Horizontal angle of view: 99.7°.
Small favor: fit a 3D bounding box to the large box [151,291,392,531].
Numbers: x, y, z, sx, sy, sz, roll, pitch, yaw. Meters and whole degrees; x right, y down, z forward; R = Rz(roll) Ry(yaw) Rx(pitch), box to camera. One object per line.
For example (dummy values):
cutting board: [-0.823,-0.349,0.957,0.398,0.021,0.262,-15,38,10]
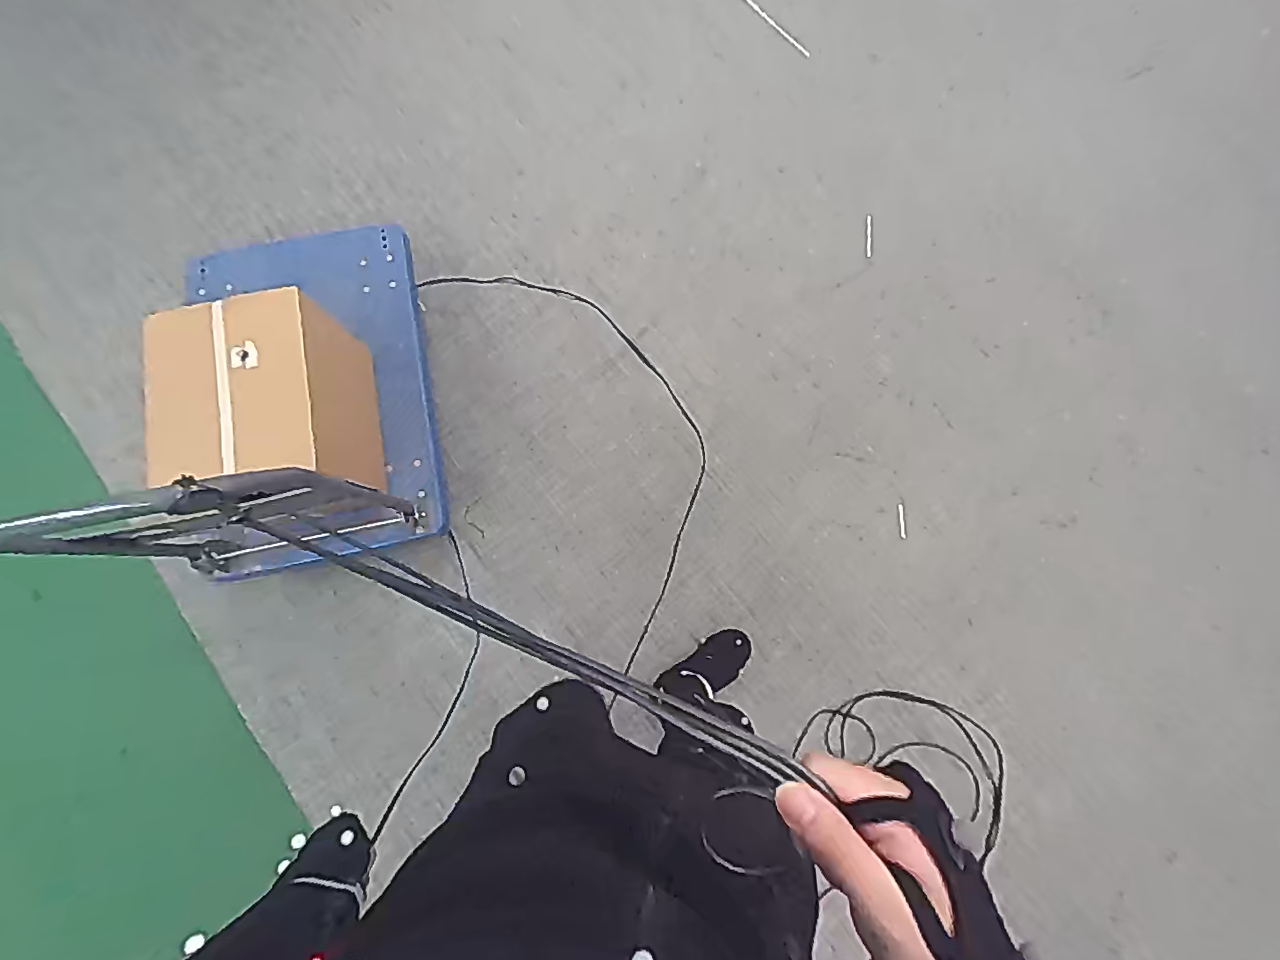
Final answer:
large box: [-0.792,-0.132,1.199,0.320,0.320,0.408,-13,77,-3]
